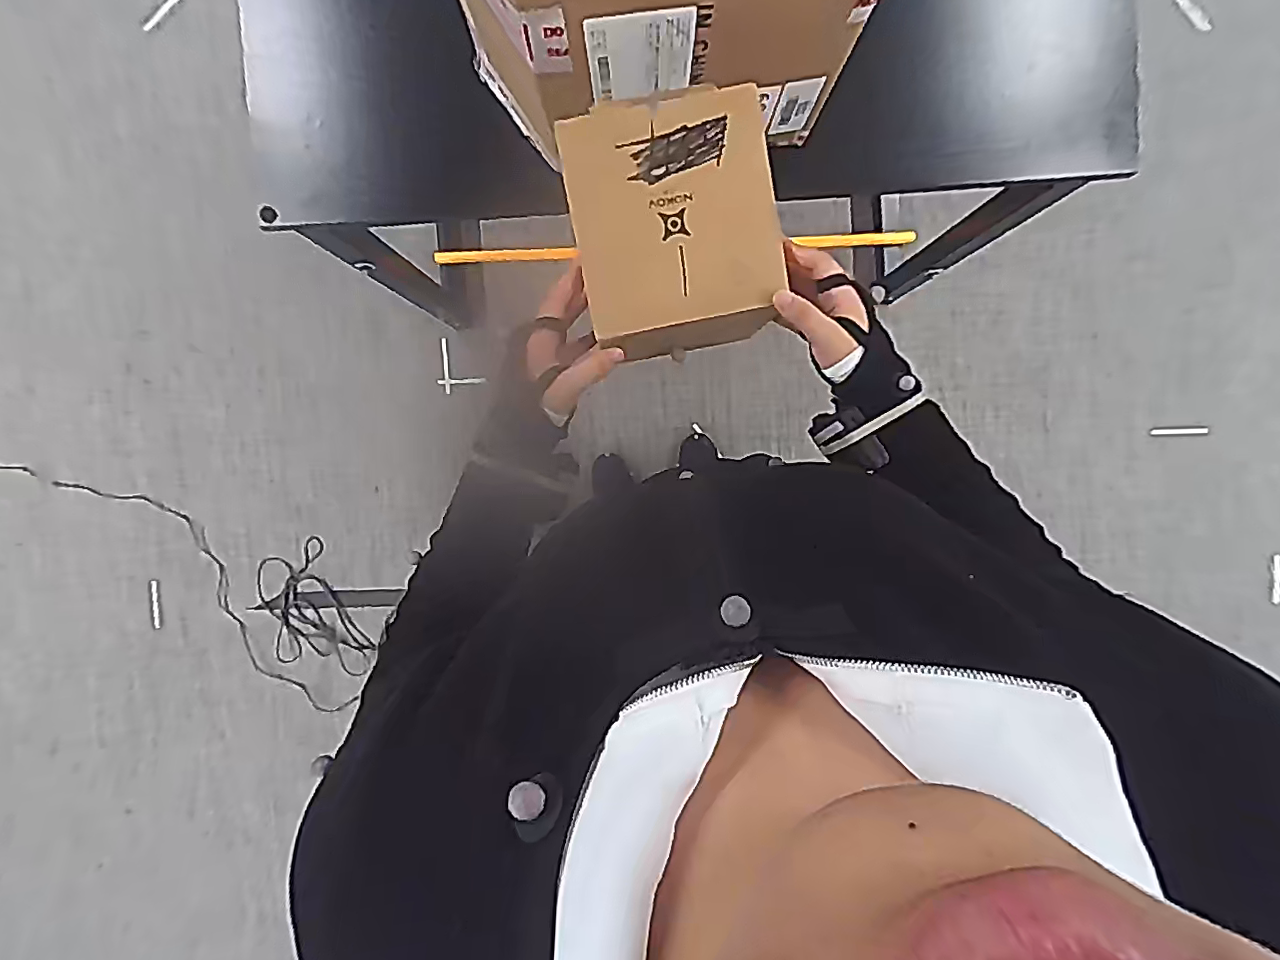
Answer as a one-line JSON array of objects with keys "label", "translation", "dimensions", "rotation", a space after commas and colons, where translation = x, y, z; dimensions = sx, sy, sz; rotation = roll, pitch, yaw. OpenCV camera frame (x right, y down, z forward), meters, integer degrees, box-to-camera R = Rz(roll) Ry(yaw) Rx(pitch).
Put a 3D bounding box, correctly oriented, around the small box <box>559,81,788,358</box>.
[{"label": "small box", "translation": [0.027, -0.228, 0.520], "dimensions": [0.168, 0.176, 0.179], "rotation": [-11, 95, 1]}]
